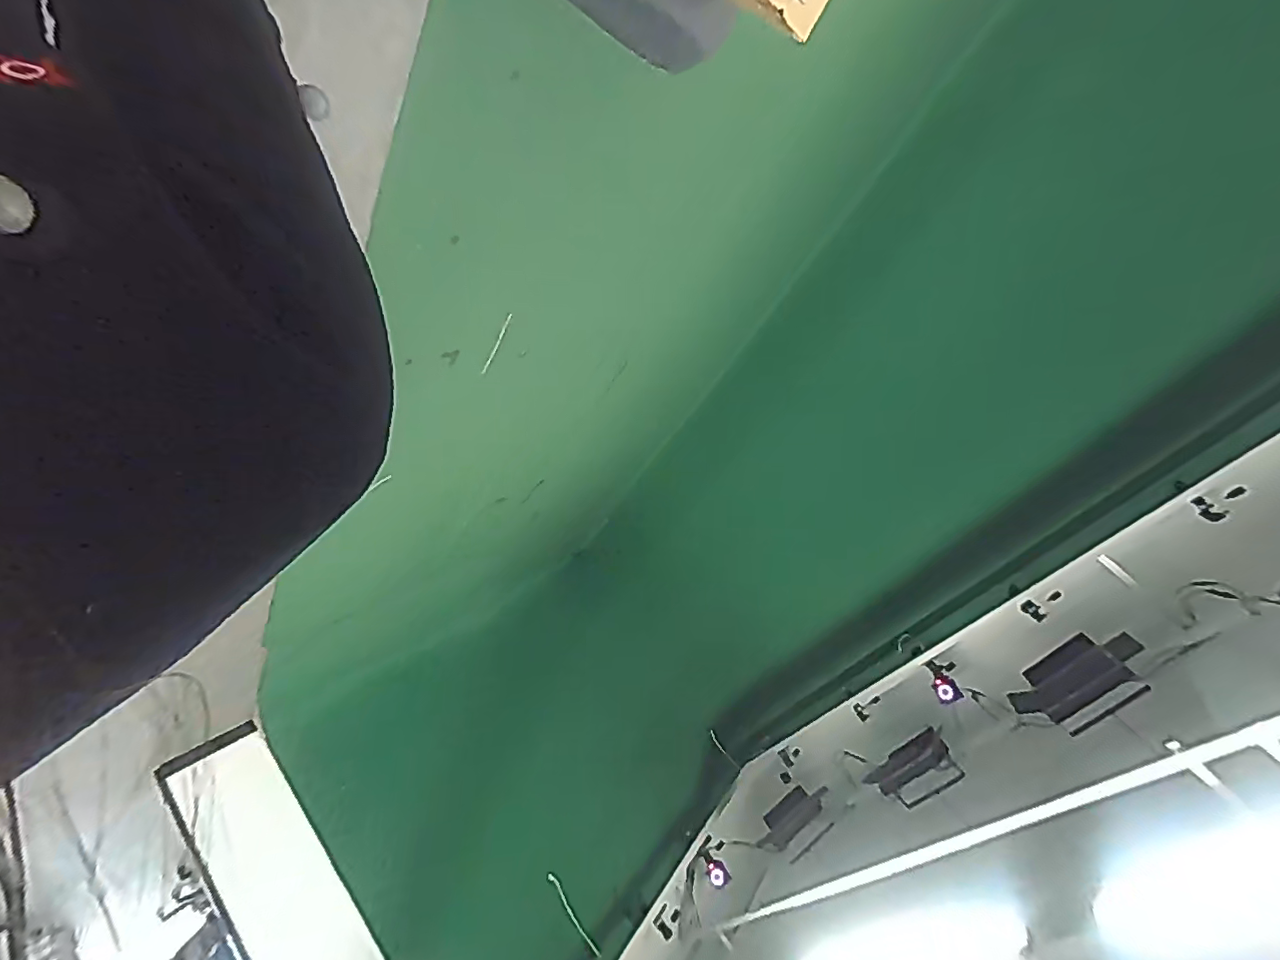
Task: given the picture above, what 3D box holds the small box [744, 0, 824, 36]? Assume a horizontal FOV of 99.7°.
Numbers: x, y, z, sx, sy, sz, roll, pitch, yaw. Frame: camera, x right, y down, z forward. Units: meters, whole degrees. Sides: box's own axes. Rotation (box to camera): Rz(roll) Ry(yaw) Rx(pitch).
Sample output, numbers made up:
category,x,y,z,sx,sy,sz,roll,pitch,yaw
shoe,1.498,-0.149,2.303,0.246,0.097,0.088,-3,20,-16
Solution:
category,x,y,z,sx,sy,sz,roll,pitch,yaw
small box,0.172,-0.732,0.686,0.168,0.176,0.179,-18,150,-51
